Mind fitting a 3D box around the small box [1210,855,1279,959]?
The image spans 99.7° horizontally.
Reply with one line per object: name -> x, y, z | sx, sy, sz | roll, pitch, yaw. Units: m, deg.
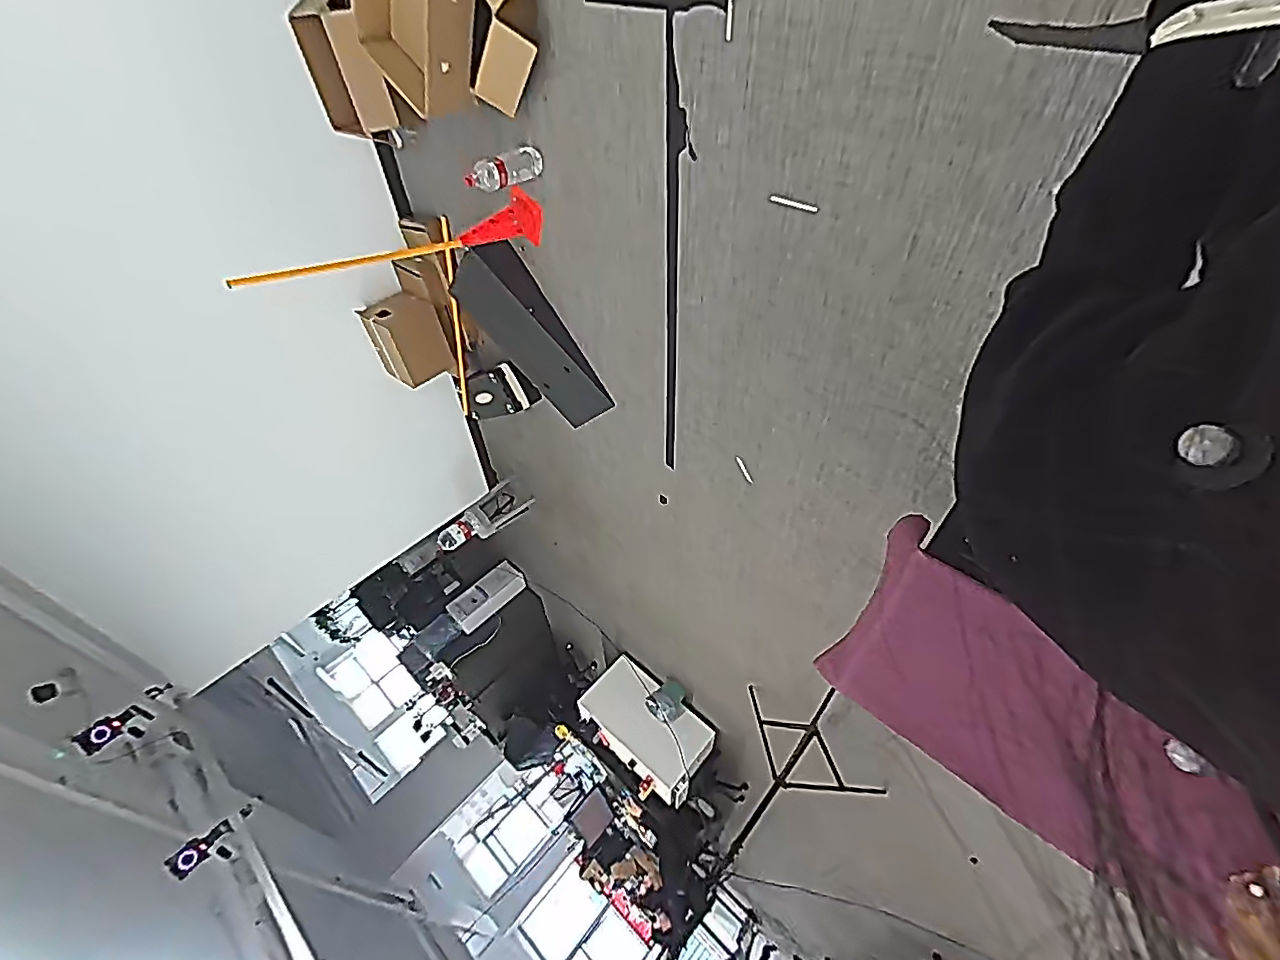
small box -> 0.995, 0.687, 0.776 | 0.179, 0.176, 0.168 | 32, 145, 31
